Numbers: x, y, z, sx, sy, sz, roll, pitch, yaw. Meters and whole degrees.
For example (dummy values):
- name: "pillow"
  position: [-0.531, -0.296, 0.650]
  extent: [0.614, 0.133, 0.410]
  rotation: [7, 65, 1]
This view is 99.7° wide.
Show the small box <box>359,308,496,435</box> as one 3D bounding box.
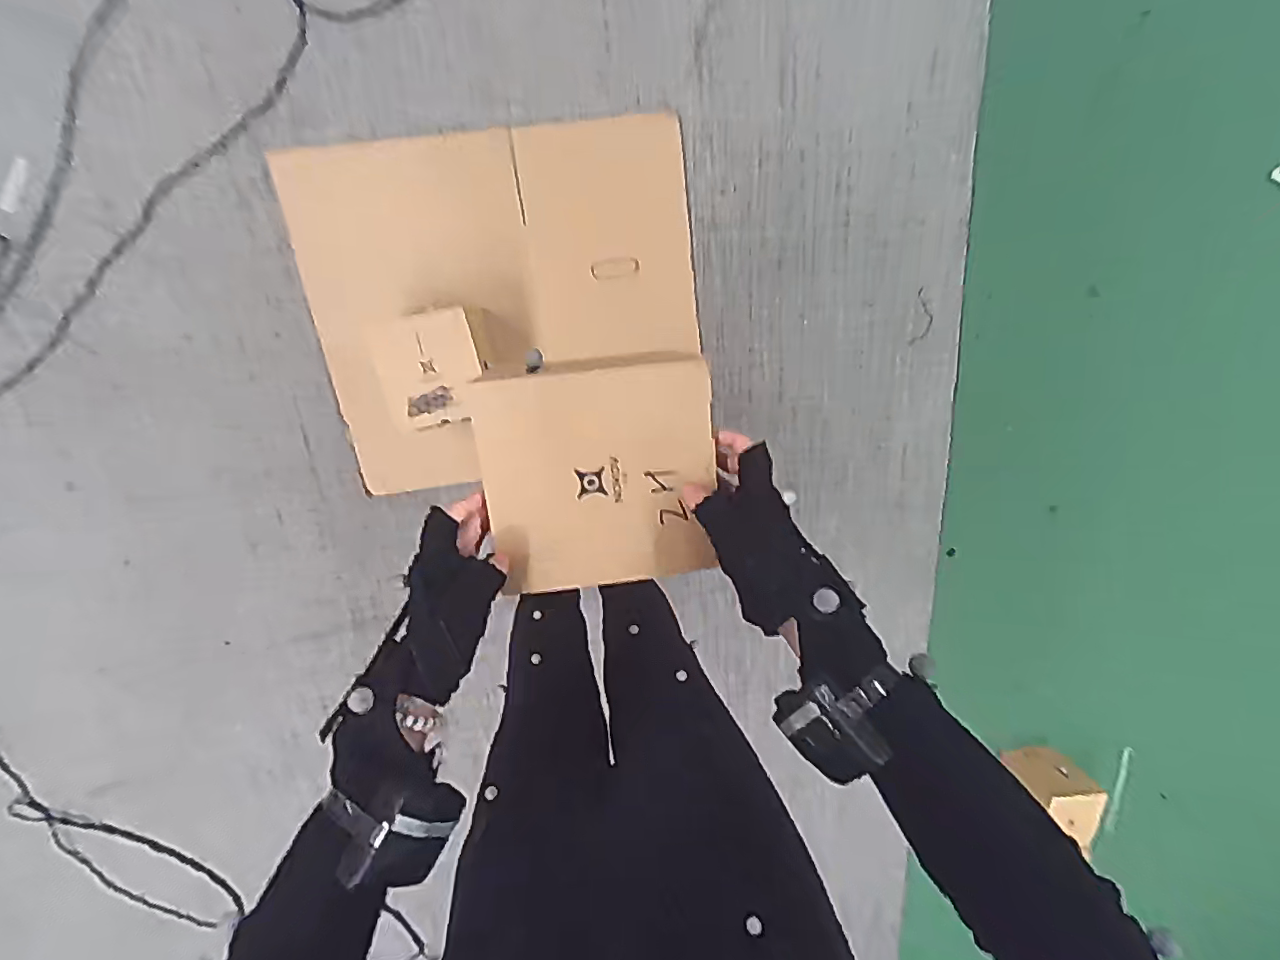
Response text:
- name: "small box"
  position: [-0.346, -0.194, 0.938]
  extent: [0.168, 0.176, 0.179]
  rotation: [-14, 108, -2]

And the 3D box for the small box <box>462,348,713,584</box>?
- name: "small box"
  position: [-0.041, -0.026, 0.485]
  extent: [0.179, 0.176, 0.168]
  rotation: [-7, 106, -4]
